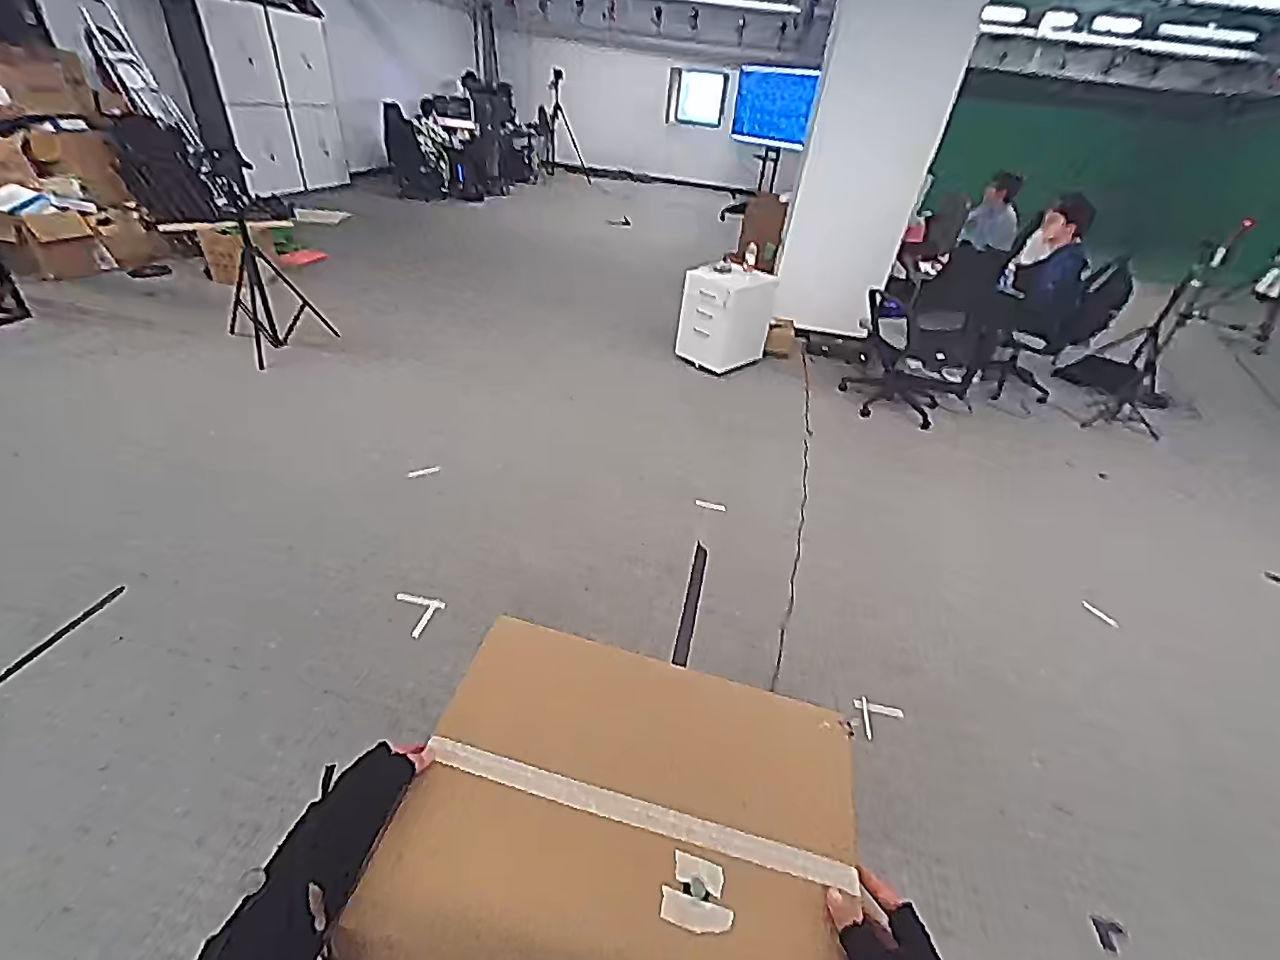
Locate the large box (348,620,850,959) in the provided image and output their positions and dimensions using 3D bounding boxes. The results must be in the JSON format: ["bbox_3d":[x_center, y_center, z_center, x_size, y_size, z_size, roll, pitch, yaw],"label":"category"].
[{"bbox_3d":[-0.023,0.416,0.606,0.408,0.320,0.320,14,42,6],"label":"large box"}]
